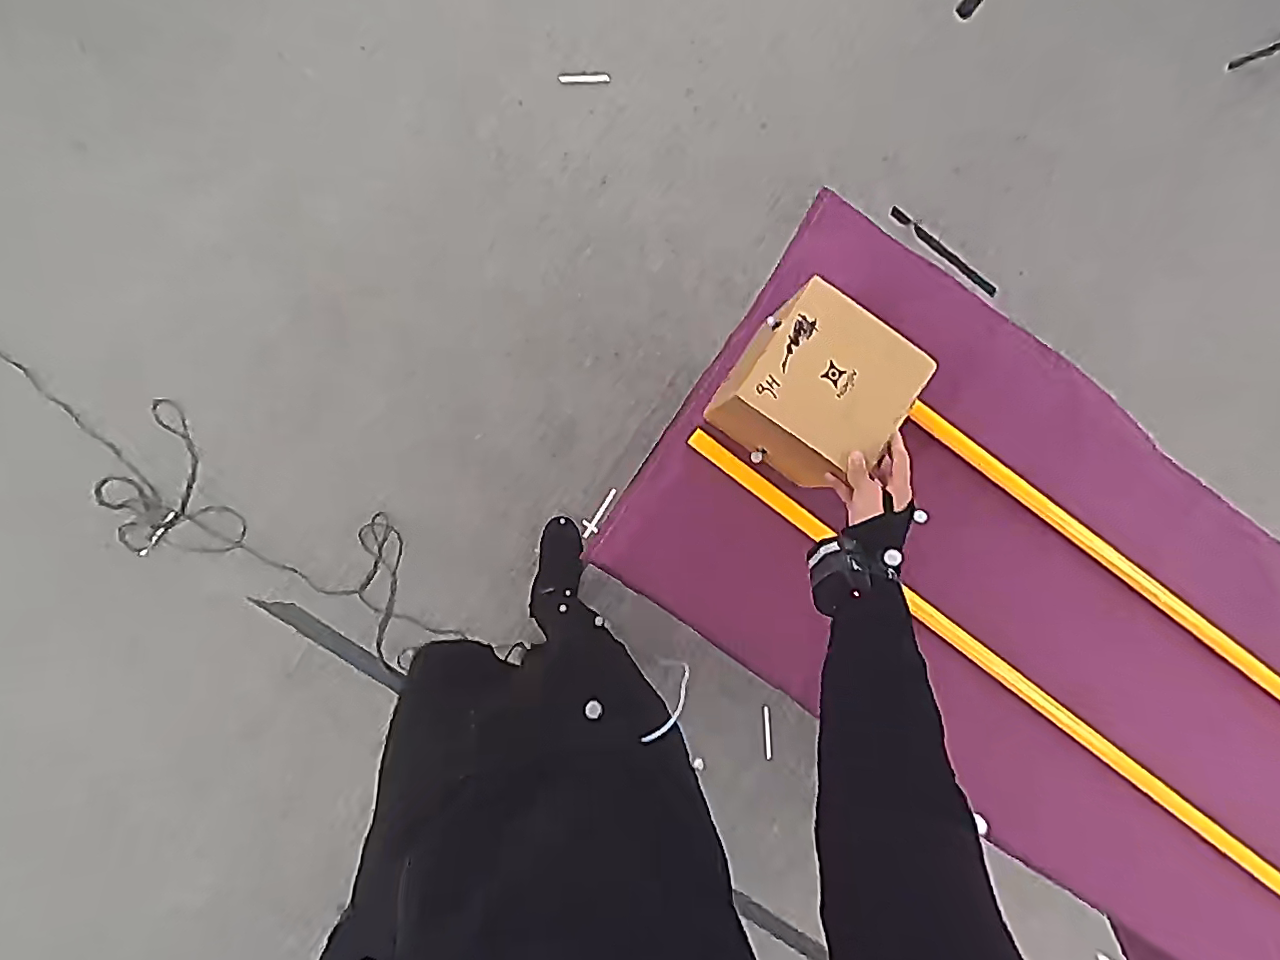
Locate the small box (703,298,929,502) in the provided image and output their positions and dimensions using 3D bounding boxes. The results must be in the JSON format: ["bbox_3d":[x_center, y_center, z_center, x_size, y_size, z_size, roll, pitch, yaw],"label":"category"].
[{"bbox_3d":[0.206,-0.089,0.680,0.179,0.176,0.168,35,85,-5],"label":"small box"}]
